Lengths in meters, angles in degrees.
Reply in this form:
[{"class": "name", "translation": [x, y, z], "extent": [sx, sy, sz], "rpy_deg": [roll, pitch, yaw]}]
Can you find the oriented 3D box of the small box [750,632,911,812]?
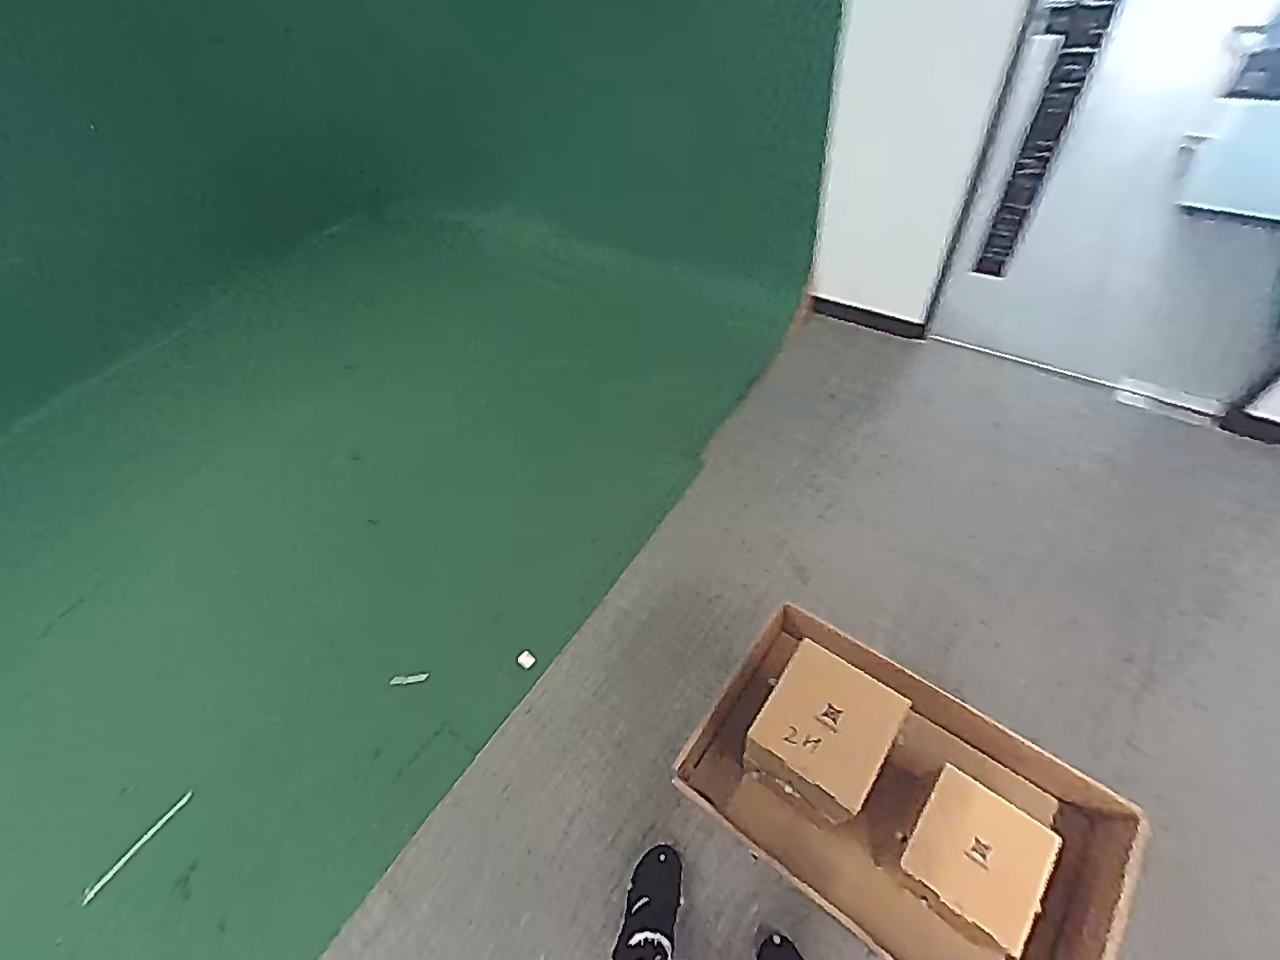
[{"class": "small box", "translation": [0.279, 0.373, 0.832], "extent": [0.168, 0.176, 0.179], "rpy_deg": [30, 65, 26]}]
